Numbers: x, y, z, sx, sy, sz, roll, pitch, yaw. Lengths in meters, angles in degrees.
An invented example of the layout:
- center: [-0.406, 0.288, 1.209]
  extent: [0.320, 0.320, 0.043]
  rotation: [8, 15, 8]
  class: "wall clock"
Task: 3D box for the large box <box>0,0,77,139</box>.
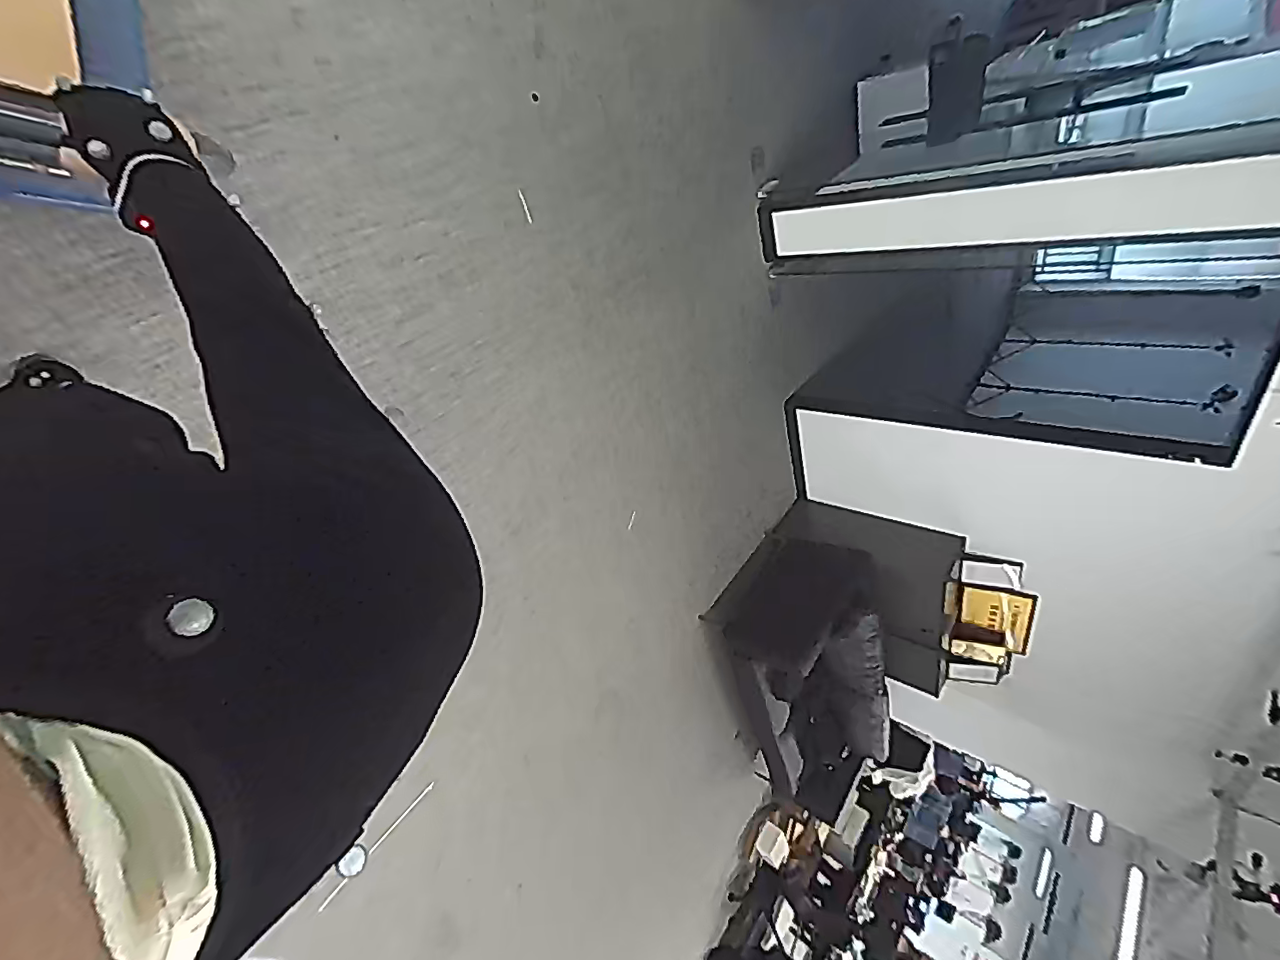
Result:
- center: [-0.989, -0.730, 0.692]
  extent: [0.320, 0.320, 0.408]
  rotation: [-12, 110, -47]
  class: "large box"
